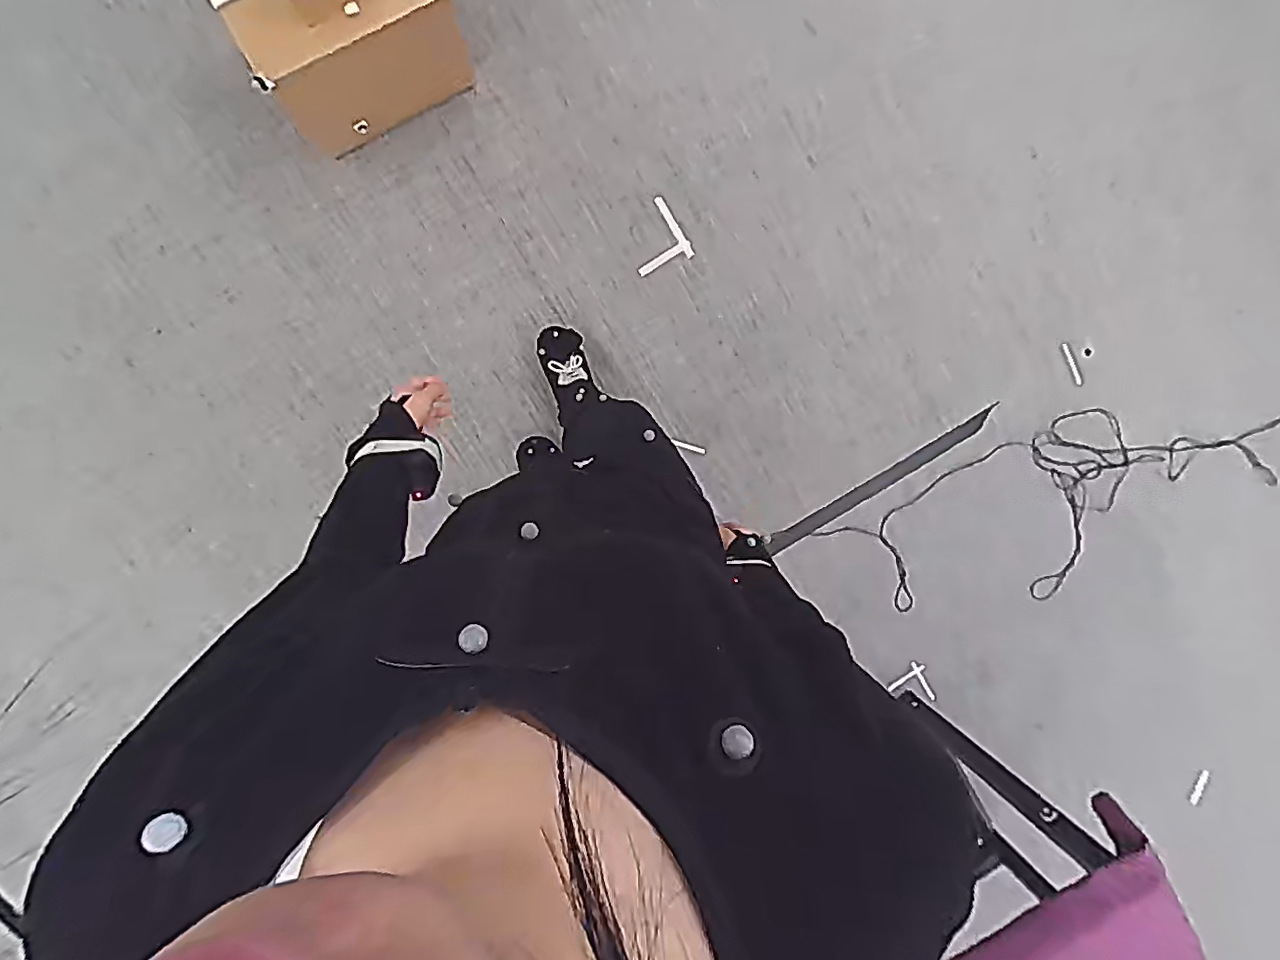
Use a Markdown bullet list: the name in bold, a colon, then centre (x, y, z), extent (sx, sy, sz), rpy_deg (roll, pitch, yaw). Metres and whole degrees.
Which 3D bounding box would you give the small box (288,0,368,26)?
- **small box**: centre (-0.575, -0.940, 0.923), extent (0.179, 0.176, 0.168), rpy_deg (-33, 101, -4)
